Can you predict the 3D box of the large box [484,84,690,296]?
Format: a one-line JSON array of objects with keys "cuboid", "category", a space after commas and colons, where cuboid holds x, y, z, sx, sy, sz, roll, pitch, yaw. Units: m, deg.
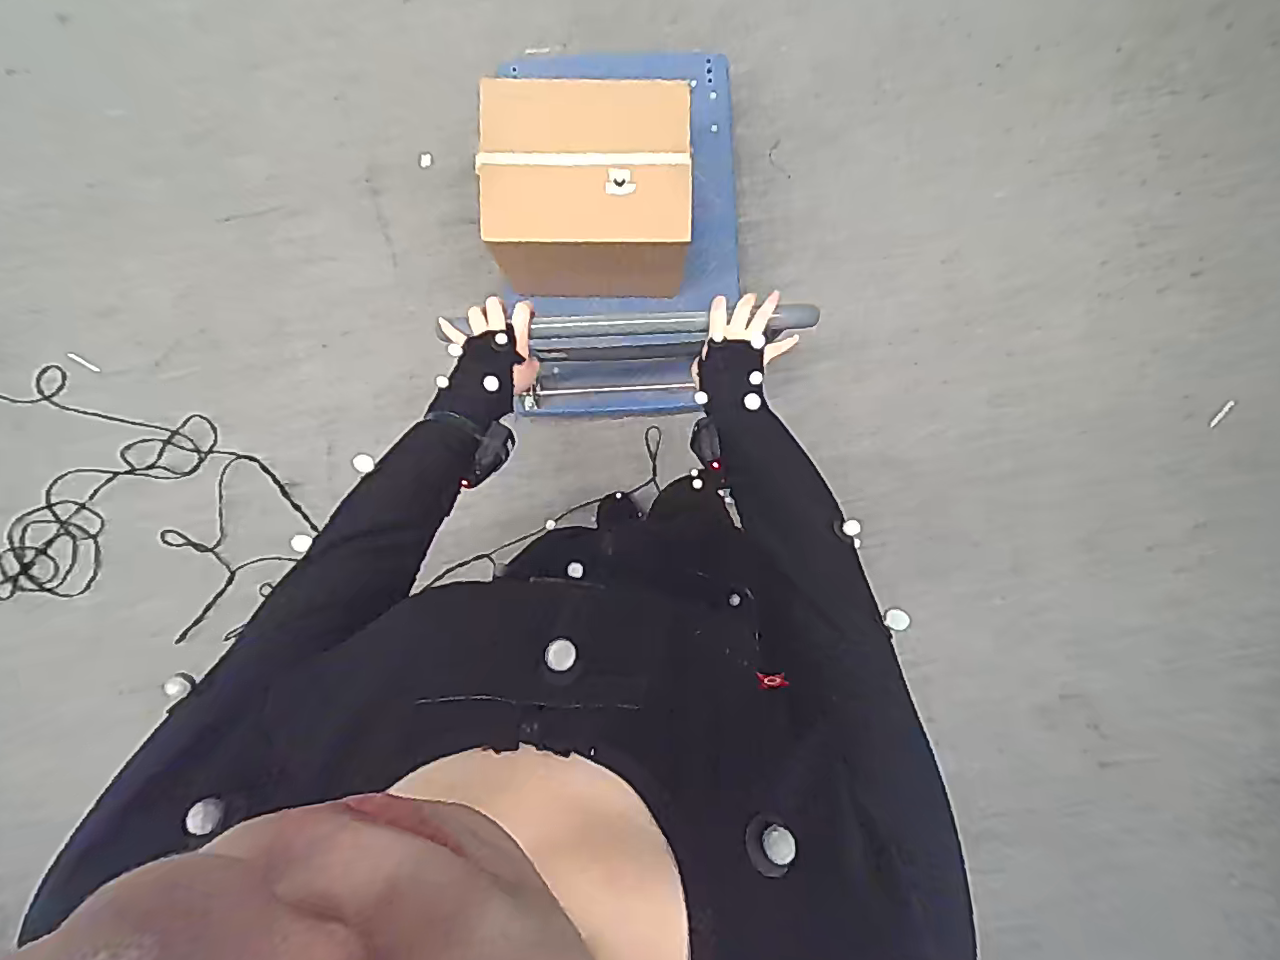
[{"cuboid": [-0.109, -0.615, 1.200, 0.408, 0.320, 0.320, 0, 90, -2], "category": "large box"}]
